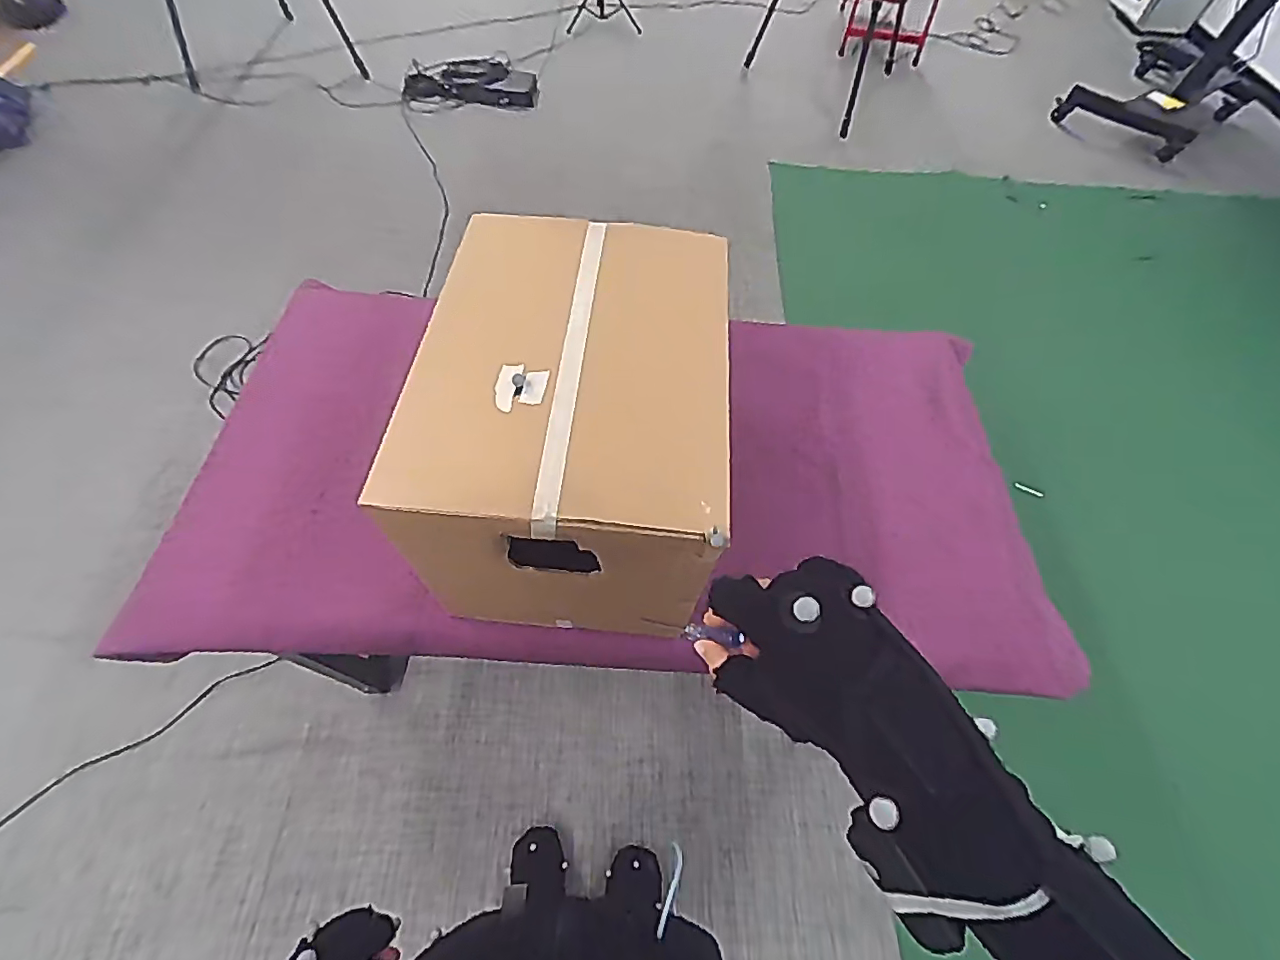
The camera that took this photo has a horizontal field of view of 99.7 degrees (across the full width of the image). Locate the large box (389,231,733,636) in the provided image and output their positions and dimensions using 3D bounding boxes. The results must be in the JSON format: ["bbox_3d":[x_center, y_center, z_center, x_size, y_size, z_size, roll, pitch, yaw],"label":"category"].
[{"bbox_3d":[-0.067,-0.049,0.701,0.320,0.320,0.408,6,59,0],"label":"large box"}]
